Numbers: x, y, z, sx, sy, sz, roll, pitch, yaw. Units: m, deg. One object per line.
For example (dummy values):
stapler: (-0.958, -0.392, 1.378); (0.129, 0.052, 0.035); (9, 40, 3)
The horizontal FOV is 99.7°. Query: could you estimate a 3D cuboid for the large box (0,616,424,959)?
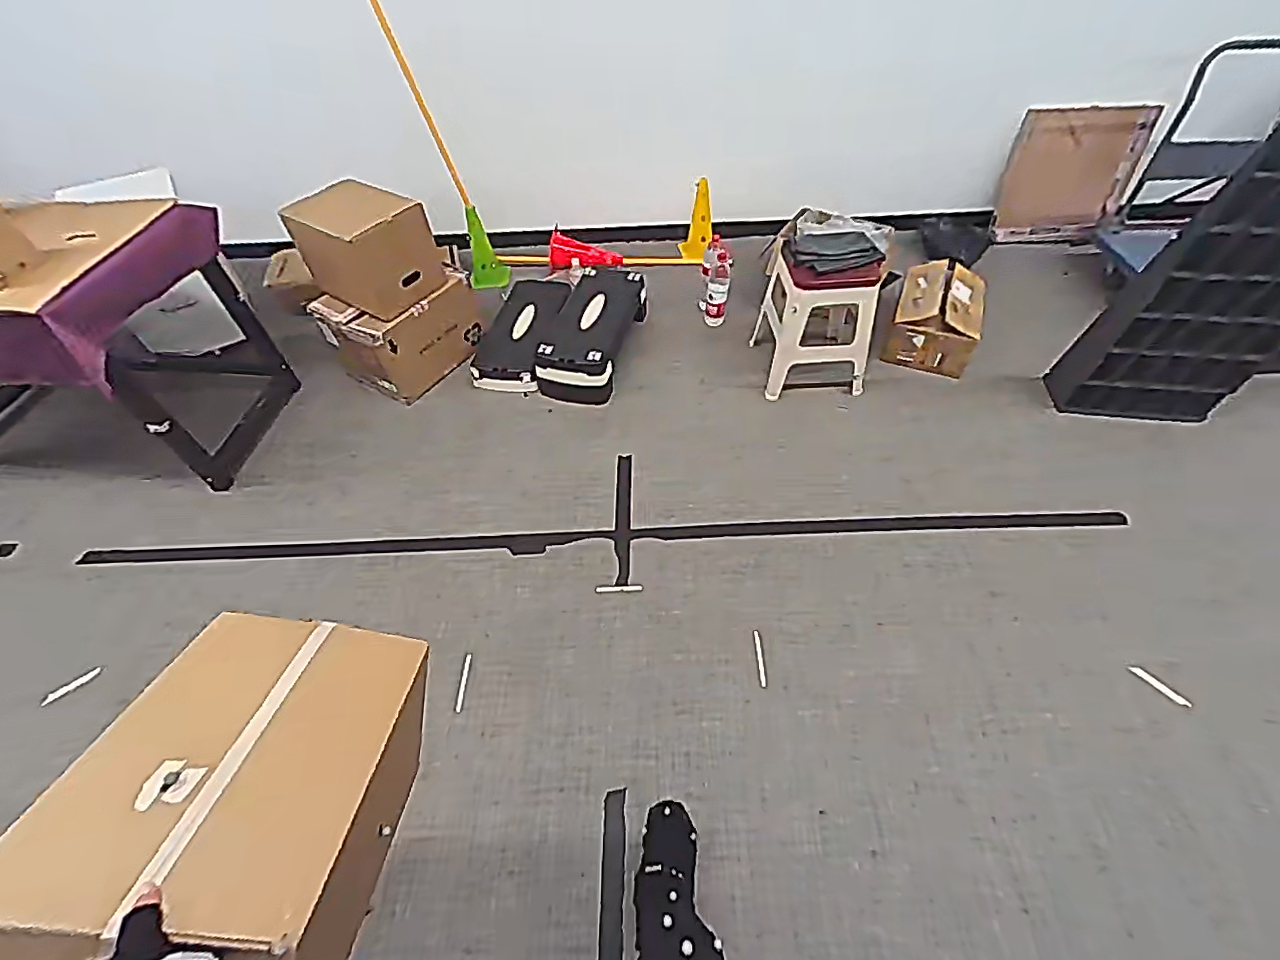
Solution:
large box: (-0.524, 0.460, 0.753); (0.320, 0.320, 0.408); (11, 27, -8)
